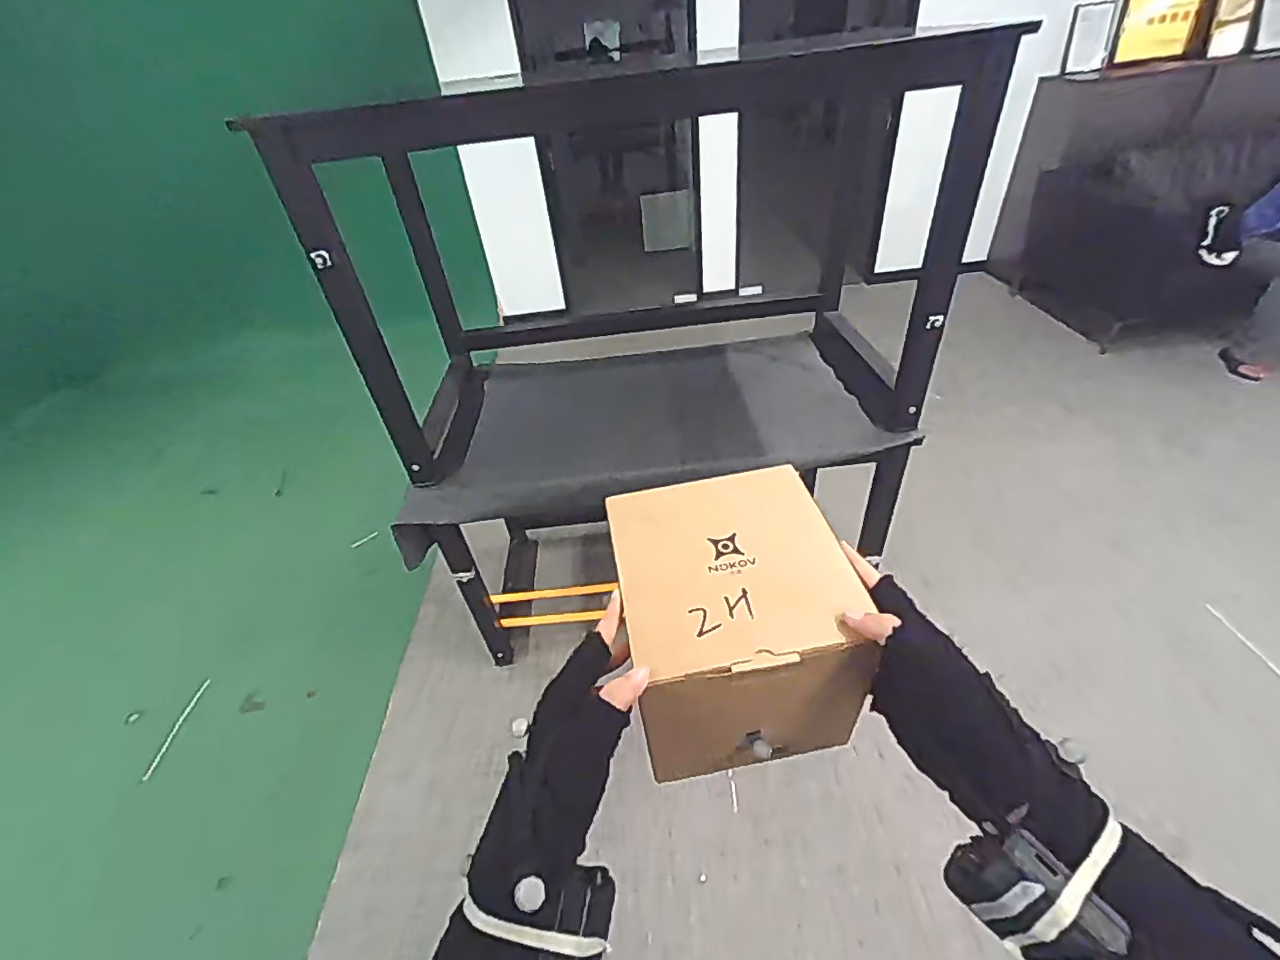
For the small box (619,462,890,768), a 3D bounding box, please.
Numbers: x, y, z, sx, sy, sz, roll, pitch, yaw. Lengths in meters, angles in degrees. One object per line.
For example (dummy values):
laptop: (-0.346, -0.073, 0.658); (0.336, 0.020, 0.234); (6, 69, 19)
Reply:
small box: (0.079, 0.111, 0.462); (0.168, 0.176, 0.179); (-10, 41, -3)
